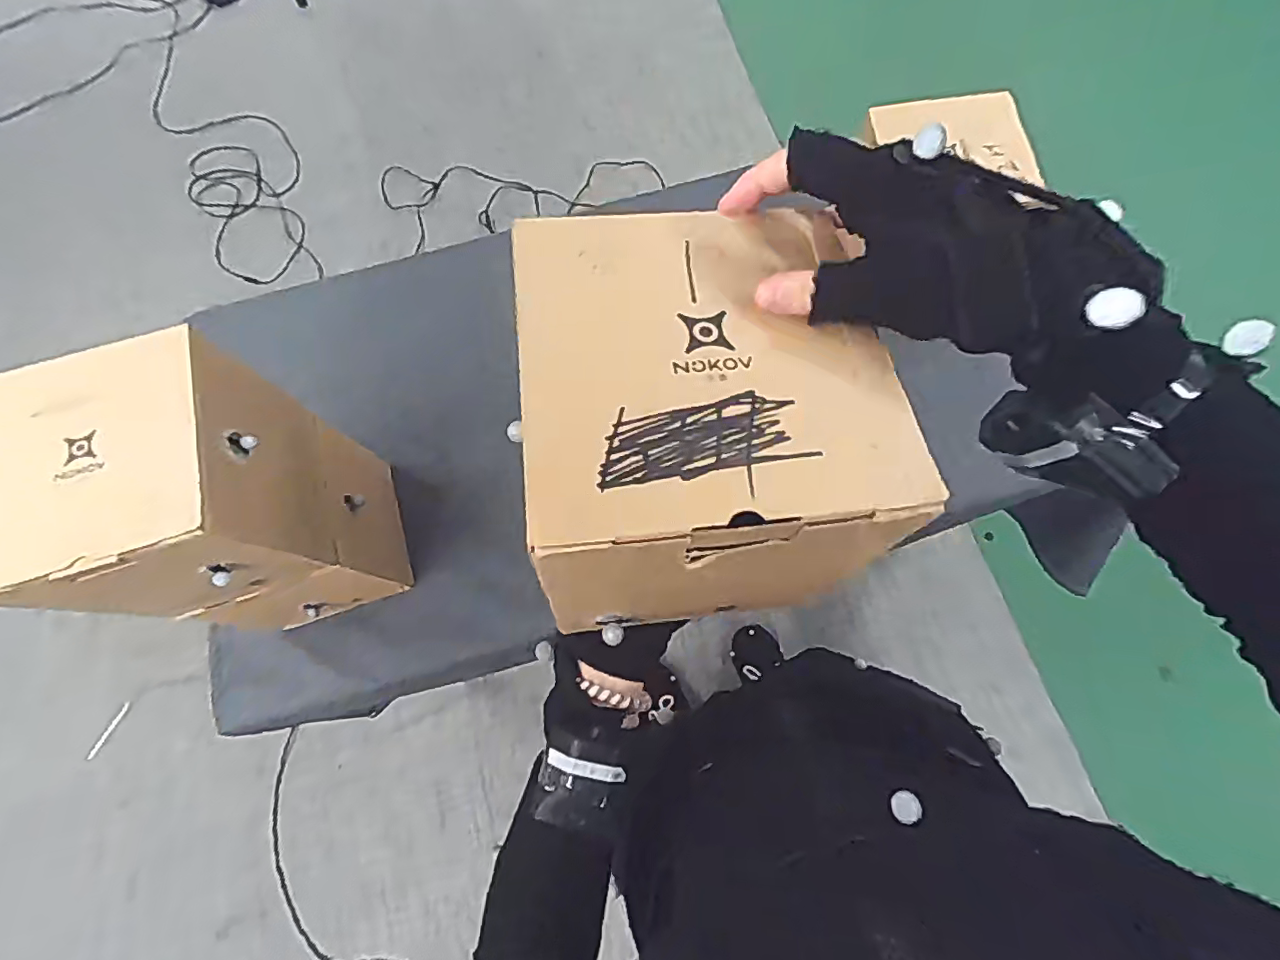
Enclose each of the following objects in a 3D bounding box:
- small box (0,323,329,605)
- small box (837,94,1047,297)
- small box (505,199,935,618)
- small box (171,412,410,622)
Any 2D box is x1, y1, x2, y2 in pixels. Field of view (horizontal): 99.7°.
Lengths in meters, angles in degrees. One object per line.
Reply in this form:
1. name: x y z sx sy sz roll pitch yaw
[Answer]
1. small box: -0.396 0.002 0.465 0.168 0.176 0.179 -16 73 -4
2. small box: 0.373 -0.361 0.711 0.179 0.176 0.168 -5 73 1
3. small box: 0.022 -0.025 0.310 0.168 0.176 0.179 -6 64 -6
4. small box: -0.389 0.052 0.620 0.168 0.176 0.179 -18 73 -4
